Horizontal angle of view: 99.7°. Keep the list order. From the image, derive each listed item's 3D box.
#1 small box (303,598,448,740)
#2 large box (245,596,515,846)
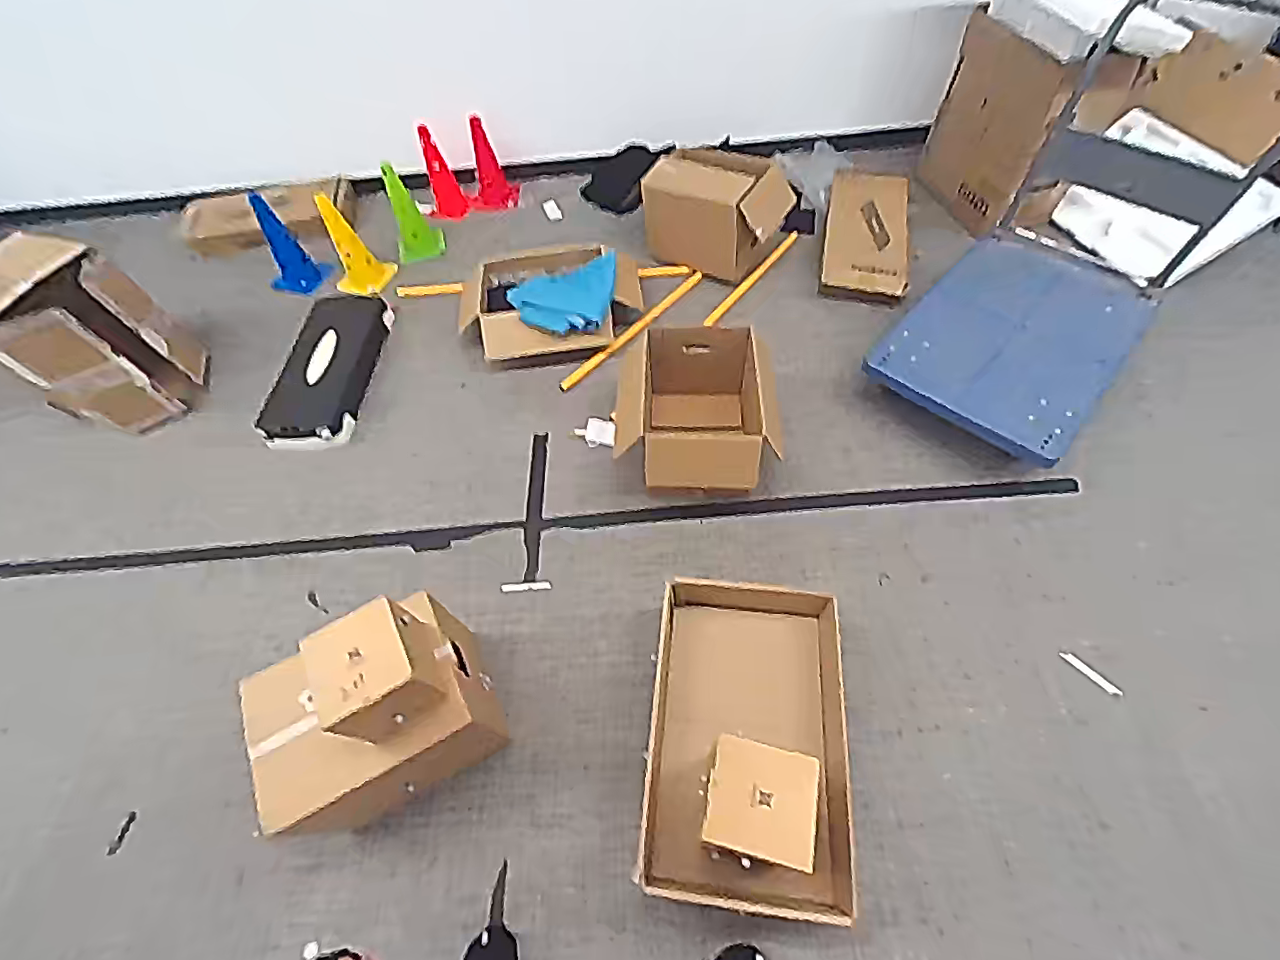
[{"bbox_3d":[-0.488,0.357,1.012,0.168,0.176,0.179,-29,61,-12],"label":"small box"},{"bbox_3d":[-0.552,0.529,1.201,0.408,0.320,0.320,-28,59,-12],"label":"large box"}]
